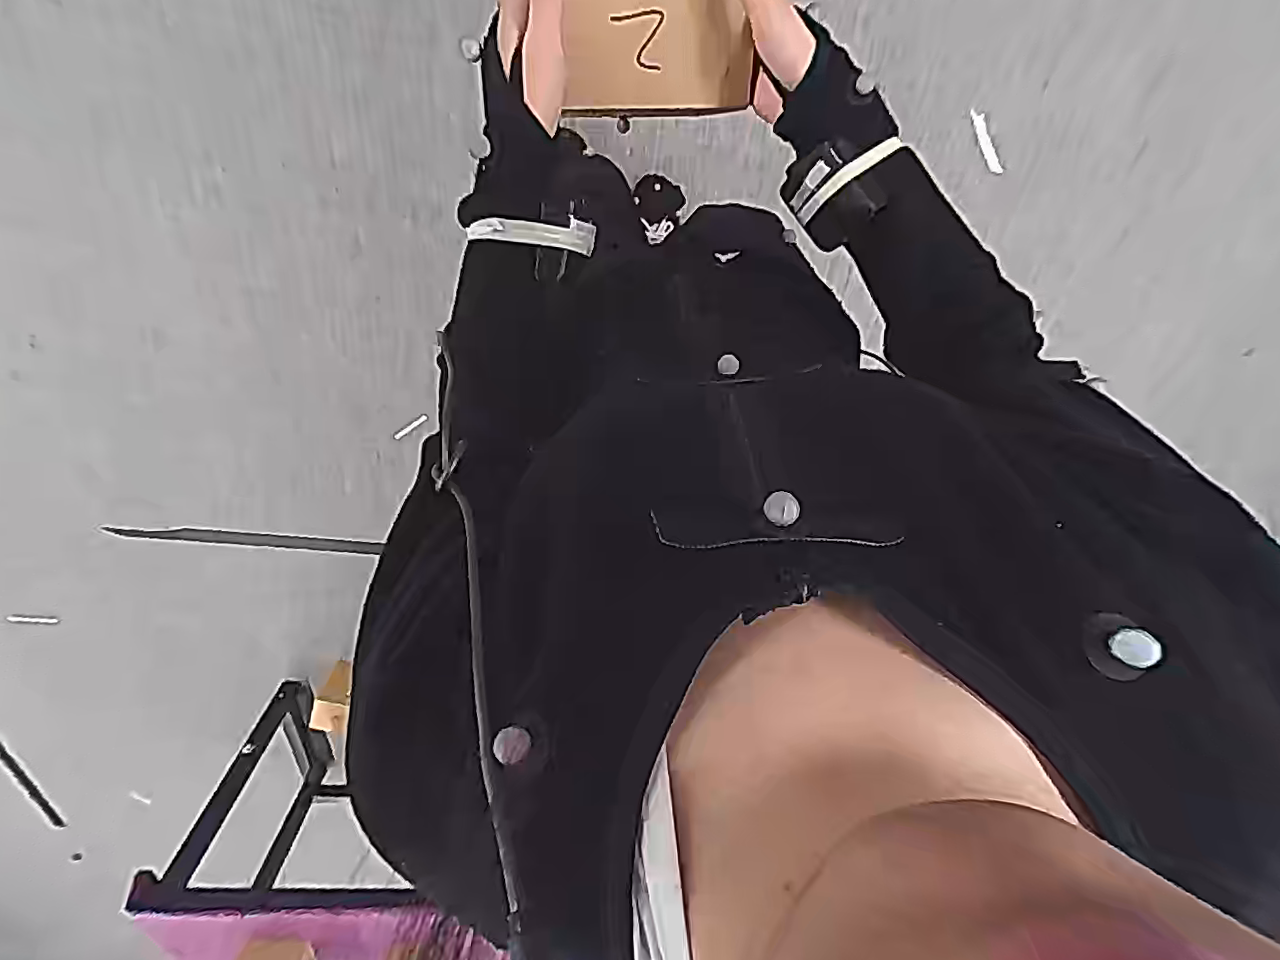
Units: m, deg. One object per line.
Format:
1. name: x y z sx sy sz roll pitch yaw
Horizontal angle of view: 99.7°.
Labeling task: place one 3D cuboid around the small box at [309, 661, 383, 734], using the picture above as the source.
1. small box: -1.068 0.787 1.969 0.179 0.176 0.168 19 118 -15

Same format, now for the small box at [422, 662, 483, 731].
1. small box: -0.688 0.795 1.992 0.179 0.176 0.168 8 120 -8

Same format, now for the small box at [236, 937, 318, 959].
1. small box: -1.019 1.382 1.476 0.179 0.176 0.168 6 121 -7

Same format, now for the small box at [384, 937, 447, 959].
1. small box: -0.657 1.437 1.528 0.168 0.176 0.179 15 119 -12
